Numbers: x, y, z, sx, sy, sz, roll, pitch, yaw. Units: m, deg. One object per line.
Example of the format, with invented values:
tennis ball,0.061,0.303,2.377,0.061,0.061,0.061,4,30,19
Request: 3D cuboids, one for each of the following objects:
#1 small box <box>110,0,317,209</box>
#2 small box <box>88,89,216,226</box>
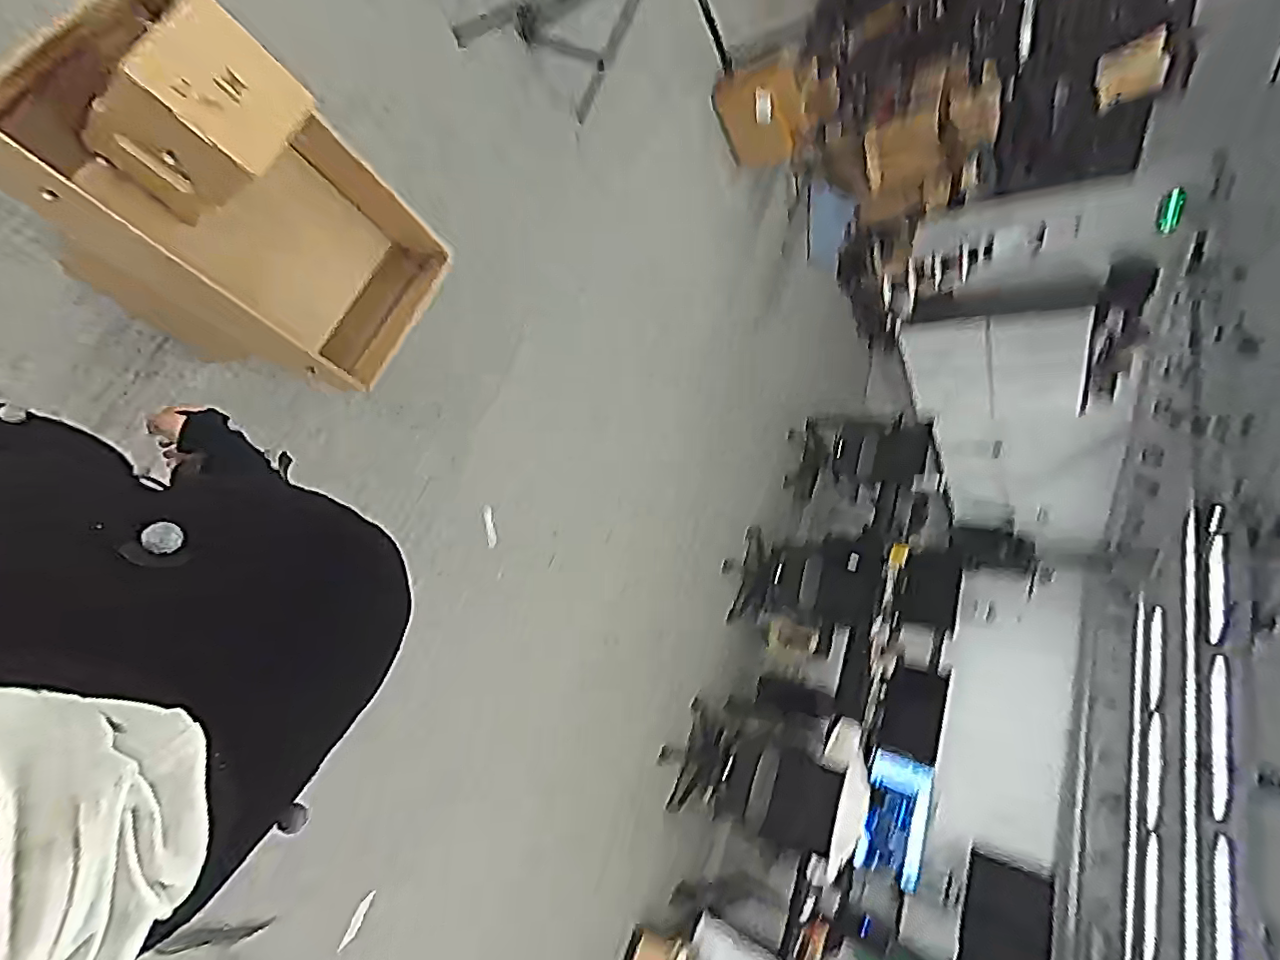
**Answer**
small box,-0.632,-0.544,0.803,0.168,0.176,0.179,40,62,-45
small box,-0.764,-0.560,0.901,0.168,0.176,0.179,42,60,-45
